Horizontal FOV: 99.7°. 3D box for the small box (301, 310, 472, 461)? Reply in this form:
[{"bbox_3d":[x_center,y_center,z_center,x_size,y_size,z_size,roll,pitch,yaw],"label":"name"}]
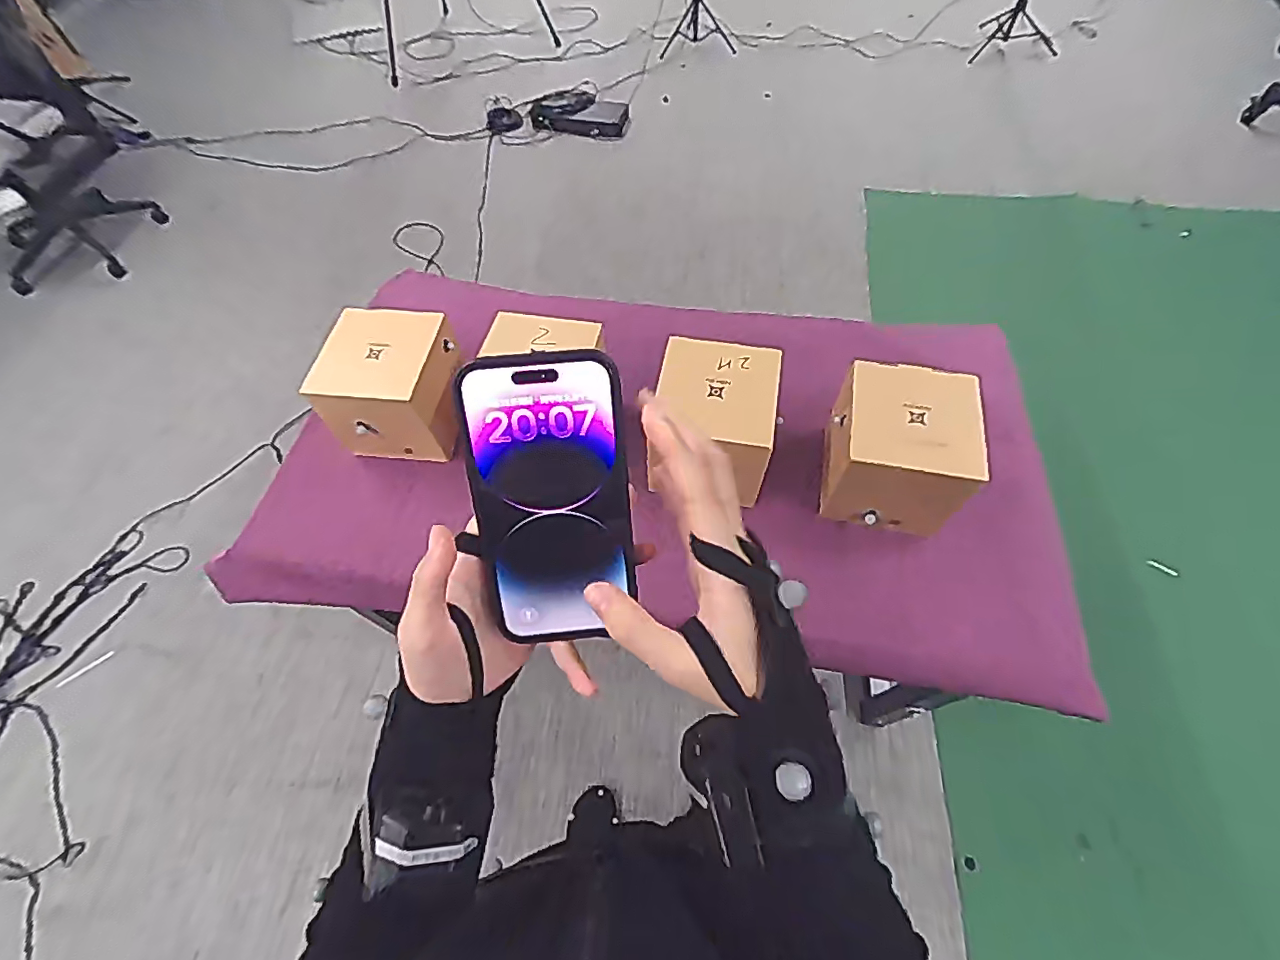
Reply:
[{"bbox_3d":[-0.386,-0.146,0.864,0.168,0.176,0.179,4,58,5],"label":"small box"}]

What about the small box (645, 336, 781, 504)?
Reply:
[{"bbox_3d":[0.107,-0.084,0.808,0.168,0.176,0.179,10,60,7],"label":"small box"}]

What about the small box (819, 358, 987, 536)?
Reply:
[{"bbox_3d":[0.363,-0.044,0.775,0.168,0.176,0.179,10,60,9],"label":"small box"}]
